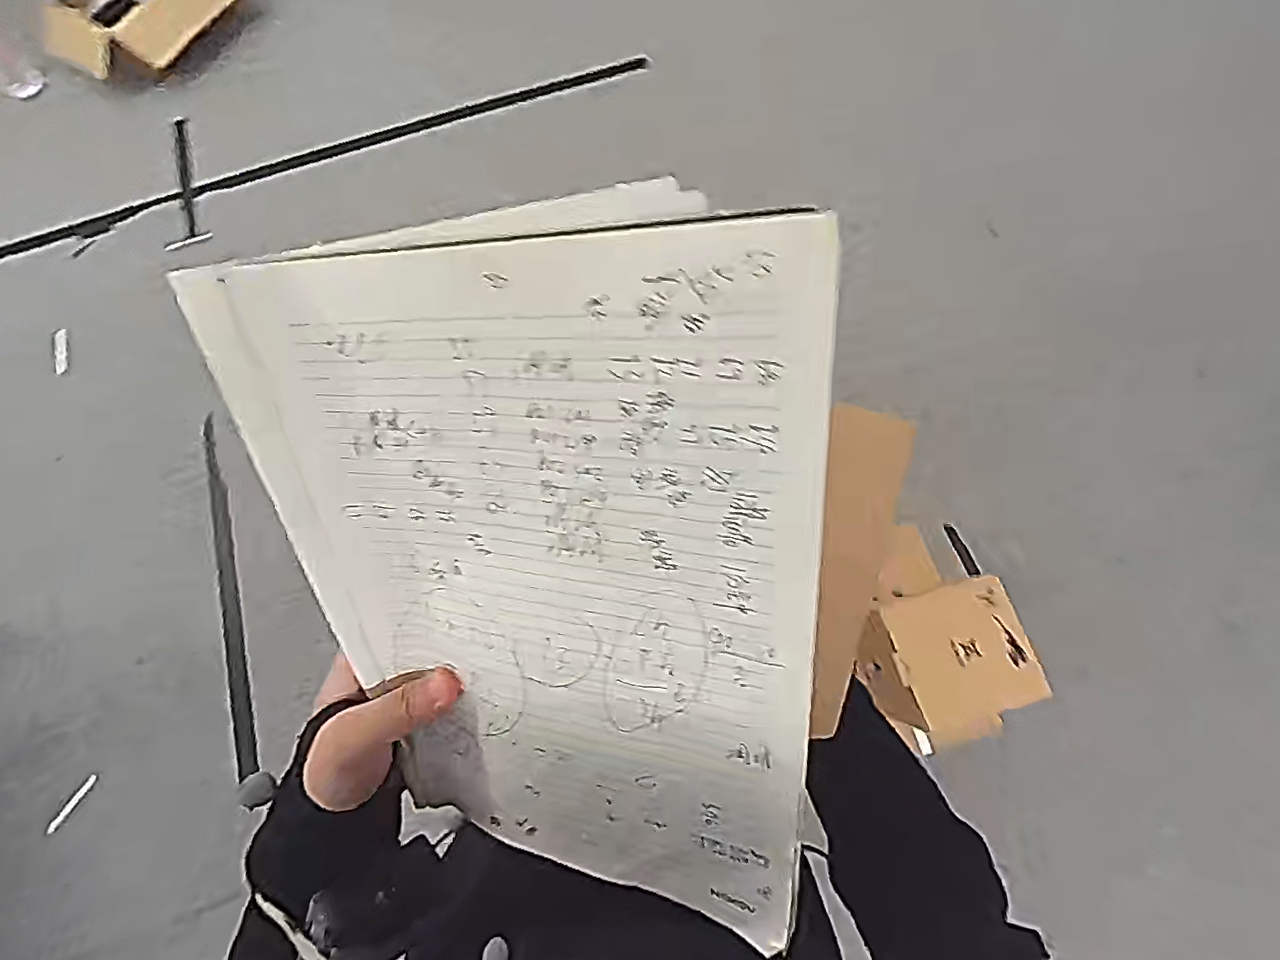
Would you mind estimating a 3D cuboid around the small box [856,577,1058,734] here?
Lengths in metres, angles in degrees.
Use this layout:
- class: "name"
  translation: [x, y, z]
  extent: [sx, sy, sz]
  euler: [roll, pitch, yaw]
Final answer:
- class: "small box"
  translation: [0.438, 0.252, 0.790]
  extent: [0.179, 0.176, 0.168]
  euler: [-16, 74, -1]

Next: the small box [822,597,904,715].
- class: "small box"
  translation: [0.436, 0.300, 0.947]
  extent: [0.179, 0.176, 0.168]
  euler: [-13, 74, -2]
